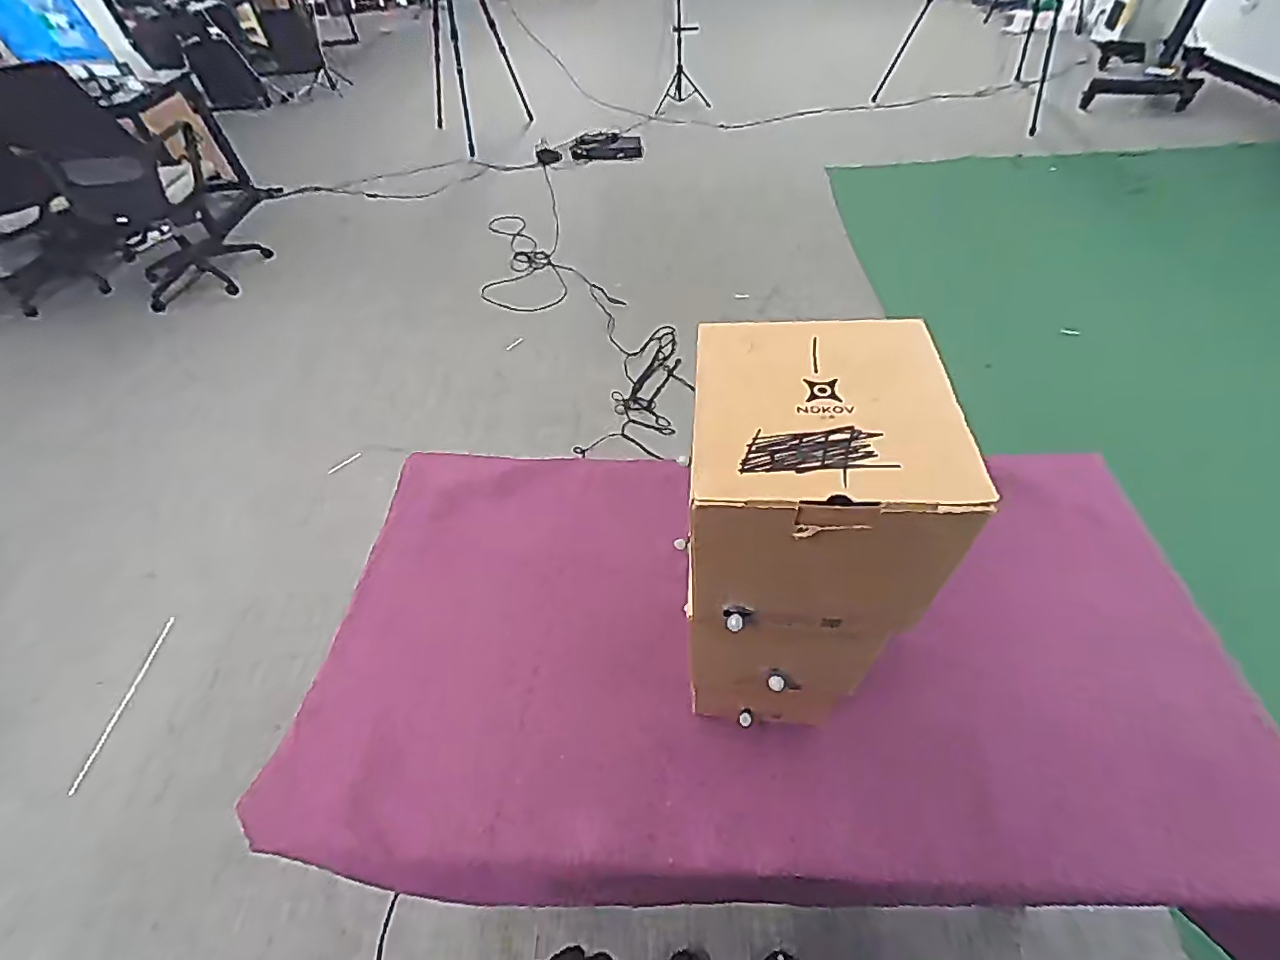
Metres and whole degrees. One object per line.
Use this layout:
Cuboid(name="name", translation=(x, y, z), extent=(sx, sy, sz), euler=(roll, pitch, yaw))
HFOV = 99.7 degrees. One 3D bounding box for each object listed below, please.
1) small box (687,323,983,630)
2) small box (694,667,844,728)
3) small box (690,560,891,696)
Cuboid(name="small box", translation=(0.126, 0.001, 0.419), extent=(0.168, 0.176, 0.179), euler=(1, 49, 8))
Cuboid(name="small box", translation=(0.155, 0.192, 0.685), extent=(0.168, 0.176, 0.179), euler=(2, 51, 8))
Cuboid(name="small box", translation=(0.136, 0.099, 0.551), extent=(0.168, 0.176, 0.179), euler=(0, 50, 8))
